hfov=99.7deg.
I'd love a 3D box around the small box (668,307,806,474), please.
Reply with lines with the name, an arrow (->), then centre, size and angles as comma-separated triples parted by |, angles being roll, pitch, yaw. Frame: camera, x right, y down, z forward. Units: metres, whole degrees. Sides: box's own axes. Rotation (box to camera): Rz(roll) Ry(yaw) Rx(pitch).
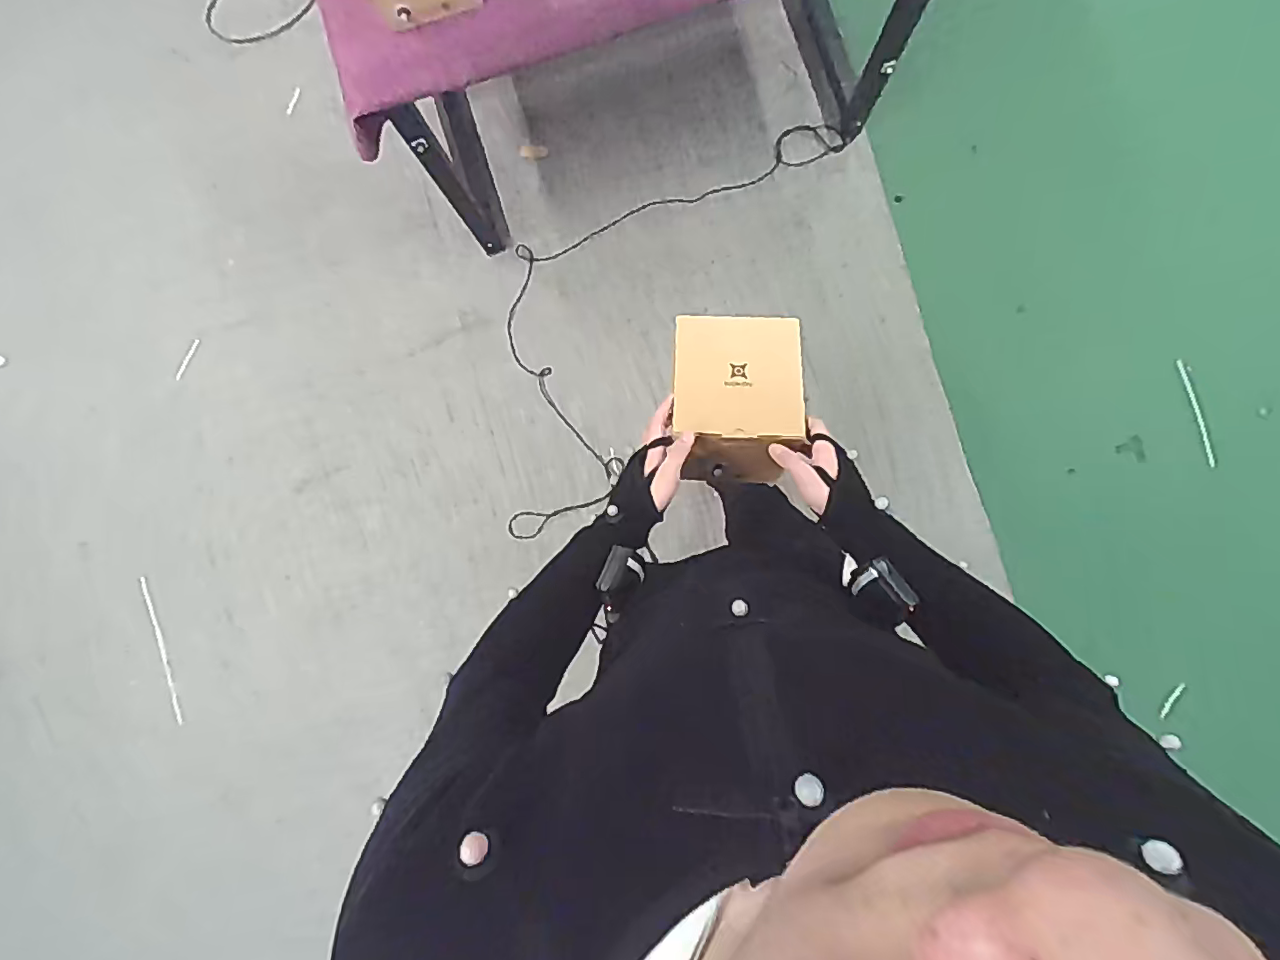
small box -> 0.126, -0.119, 0.764 | 0.168, 0.176, 0.179 | 2, 73, 1

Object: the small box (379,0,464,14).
small box -> -0.371, -0.880, 0.841 | 0.168, 0.176, 0.179 | -15, 87, 2
